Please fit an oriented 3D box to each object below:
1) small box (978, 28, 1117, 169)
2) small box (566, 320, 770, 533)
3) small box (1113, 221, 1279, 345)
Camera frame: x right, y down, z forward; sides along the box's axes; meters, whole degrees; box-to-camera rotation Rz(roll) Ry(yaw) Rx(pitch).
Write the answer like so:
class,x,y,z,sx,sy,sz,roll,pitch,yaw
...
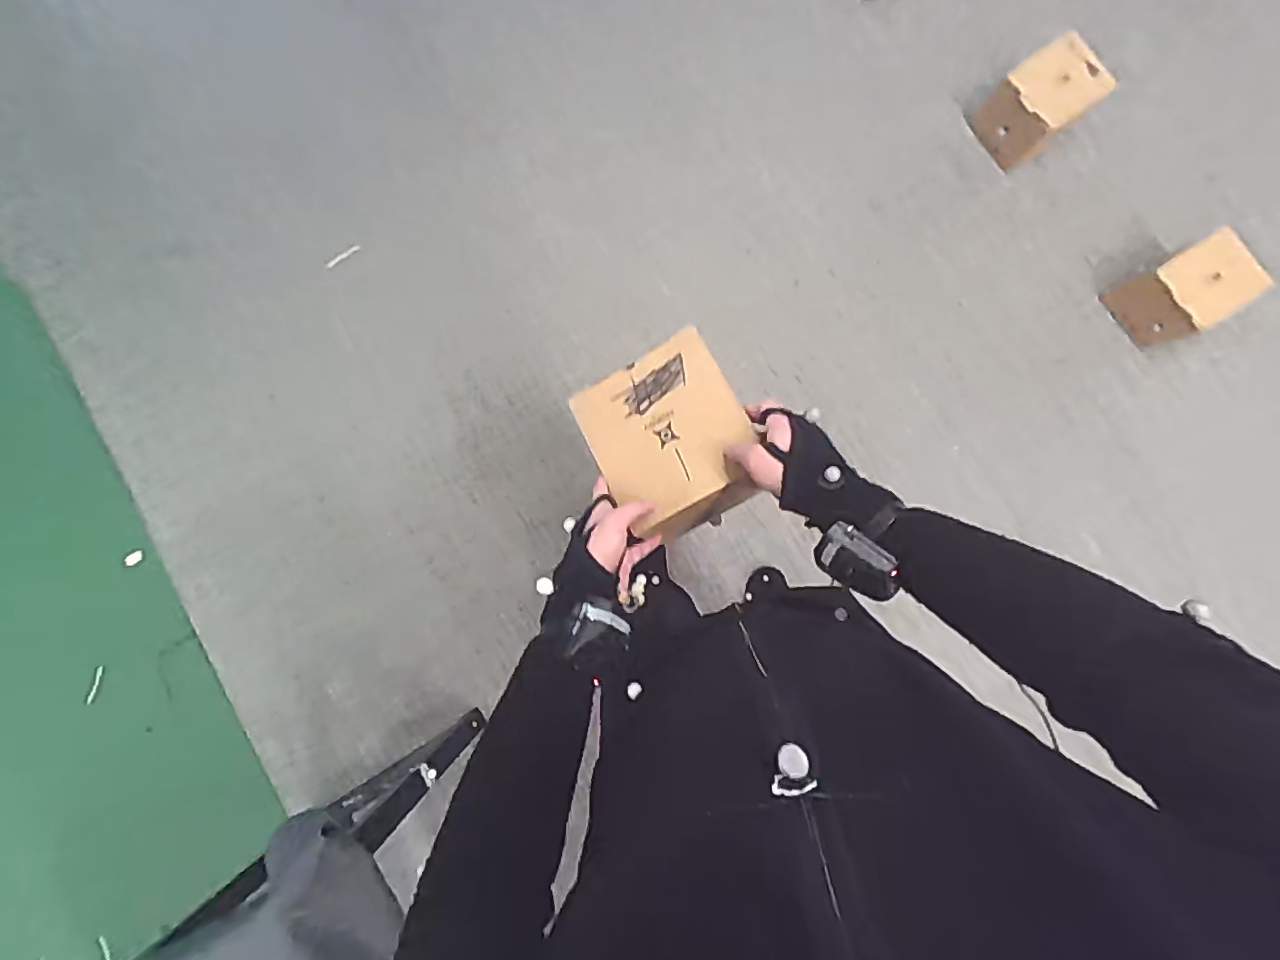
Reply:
class,x,y,z,sx,sy,sz,roll,pitch,yaw
small box,0.943,-0.887,1.277,0.179,0.176,0.168,-35,85,5
small box,0.042,-0.049,0.647,0.168,0.176,0.179,-29,74,10
small box,1.238,-0.435,1.228,0.179,0.176,0.168,-36,86,2
